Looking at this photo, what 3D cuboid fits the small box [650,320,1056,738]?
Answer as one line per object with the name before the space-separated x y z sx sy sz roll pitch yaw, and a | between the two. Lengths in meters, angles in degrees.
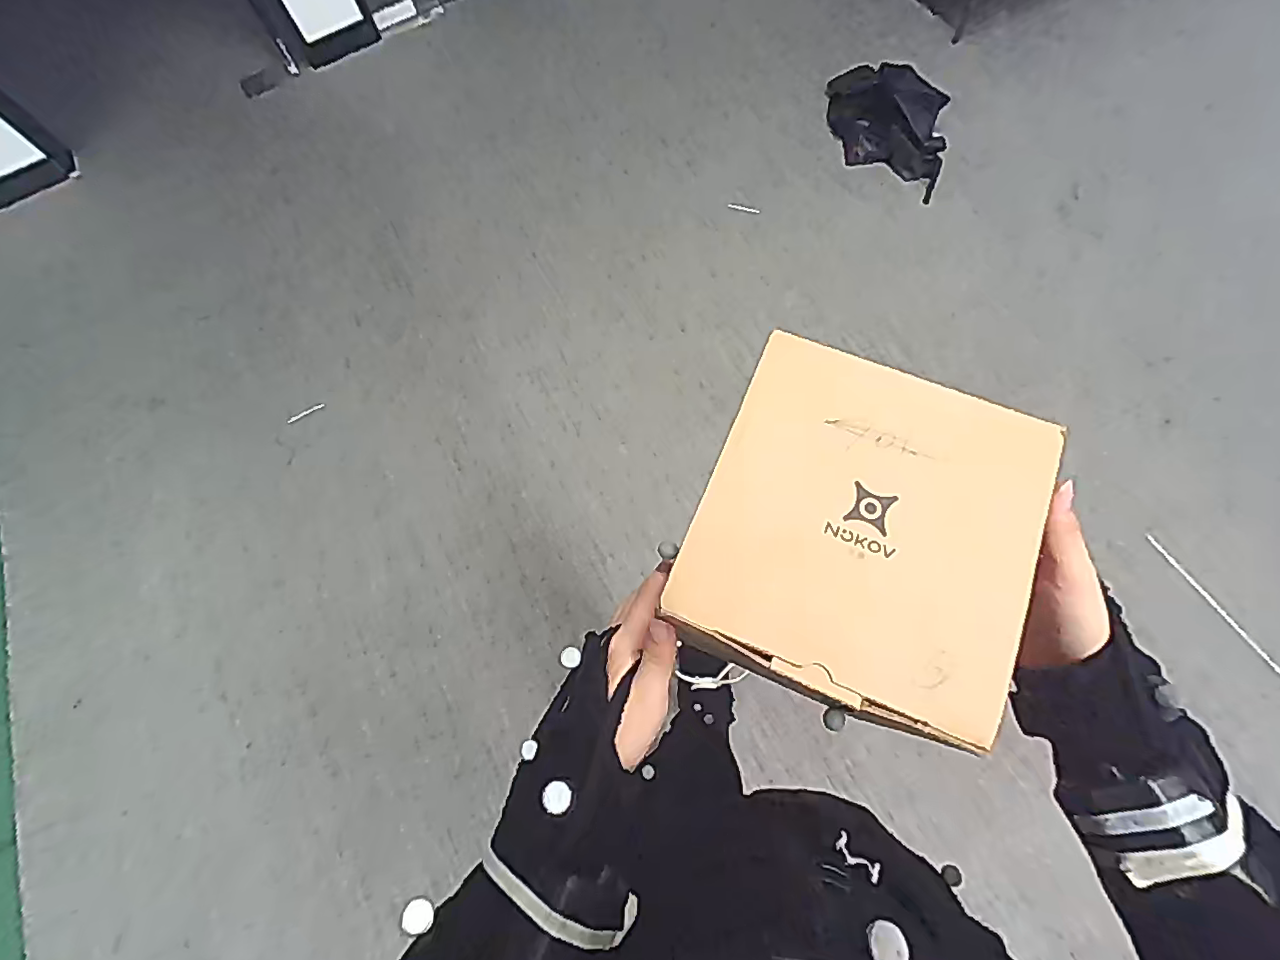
small box | 0.116 0.037 0.352 0.168 0.176 0.179 22 73 8
